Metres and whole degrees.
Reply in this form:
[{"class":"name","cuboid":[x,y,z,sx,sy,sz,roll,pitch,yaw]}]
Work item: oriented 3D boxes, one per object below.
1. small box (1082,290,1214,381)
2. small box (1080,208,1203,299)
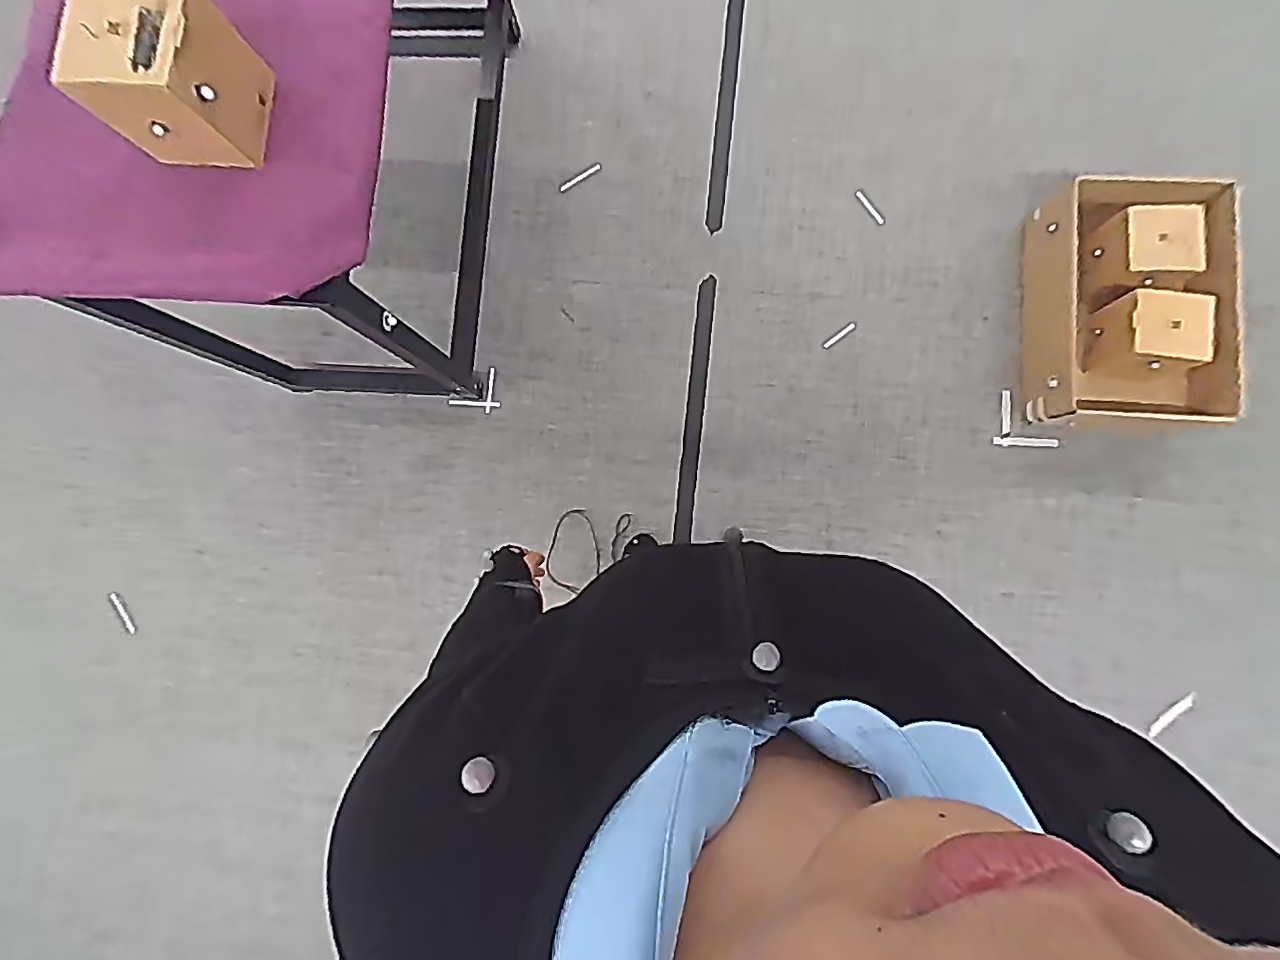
[{"class":"small box","cuboid":[1.285,-0.361,1.377,0.179,0.176,0.168,9,85,4]},{"class":"small box","cuboid":[1.281,-0.577,1.394,0.179,0.176,0.168,2,87,3]}]
